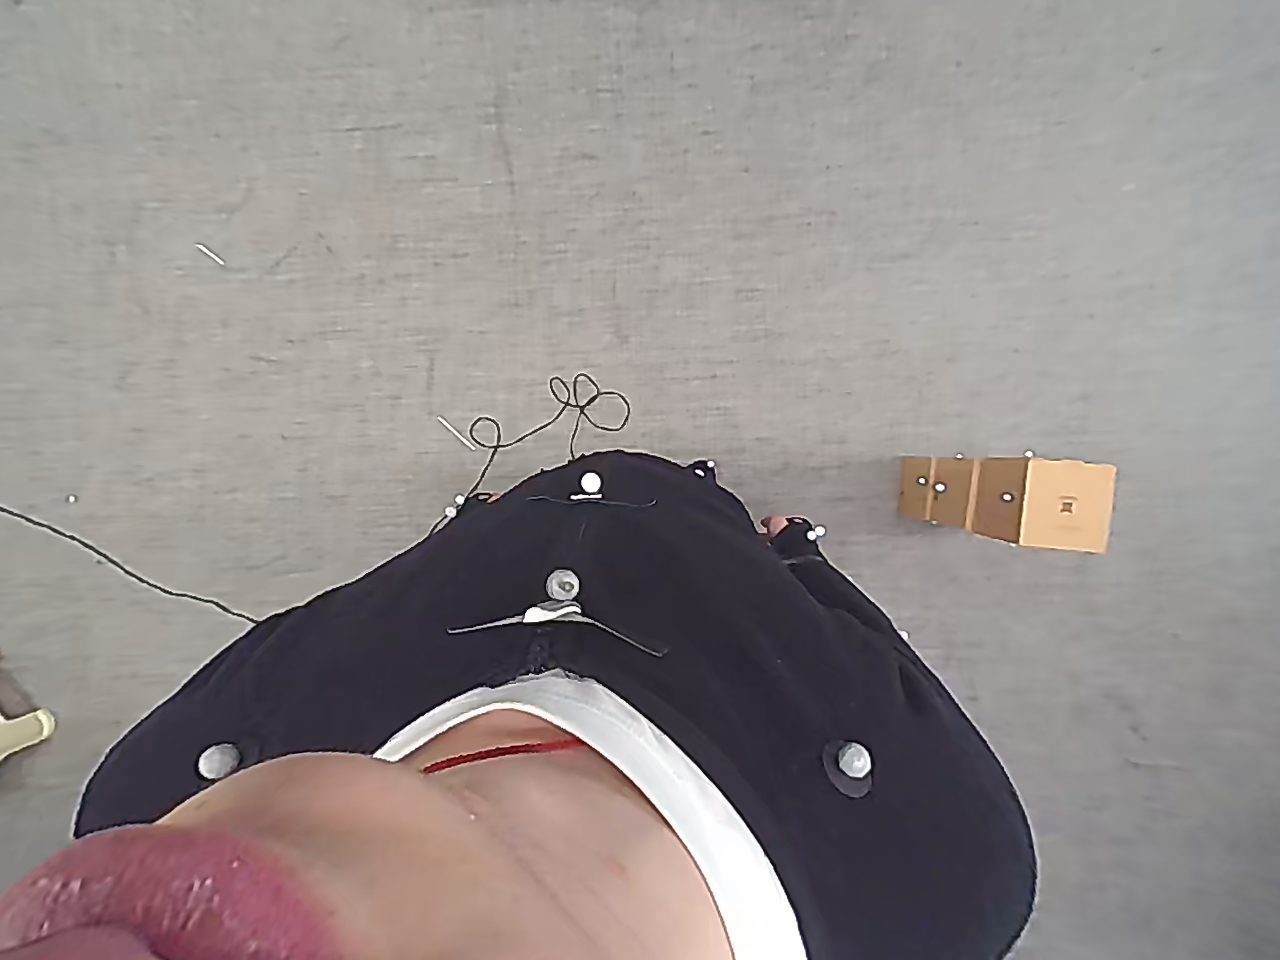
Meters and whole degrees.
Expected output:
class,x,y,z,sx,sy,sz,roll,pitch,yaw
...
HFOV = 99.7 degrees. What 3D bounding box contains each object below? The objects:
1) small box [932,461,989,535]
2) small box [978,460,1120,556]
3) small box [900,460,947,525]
class,x,y,z,sx,sy,sz,roll,pitch,yaw
small box,0.832,0.045,1.282,0.179,0.176,0.168,7,93,3
small box,0.835,0.051,1.121,0.168,0.176,0.179,5,94,3
small box,0.829,0.035,1.447,0.179,0.176,0.168,5,93,2
